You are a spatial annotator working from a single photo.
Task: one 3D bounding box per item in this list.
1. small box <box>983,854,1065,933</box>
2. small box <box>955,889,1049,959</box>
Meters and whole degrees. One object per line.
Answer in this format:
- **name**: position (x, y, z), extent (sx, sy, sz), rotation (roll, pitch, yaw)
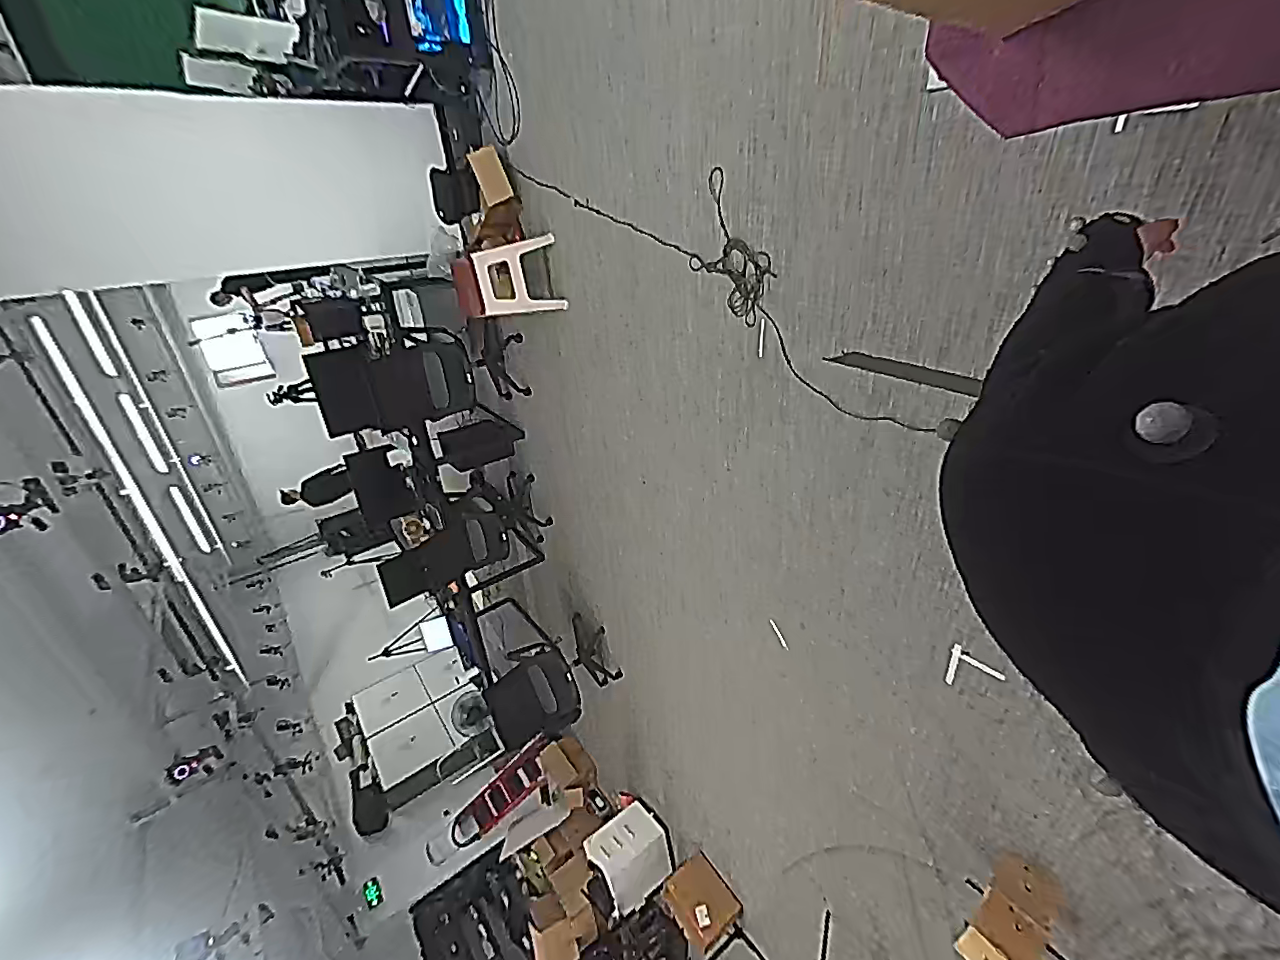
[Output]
- **small box**: position (1.251, 1.383, 1.769), extent (0.168, 0.176, 0.179), rotation (29, 133, 47)
- **small box**: position (1.125, 1.435, 1.678), extent (0.168, 0.176, 0.179), rotation (35, 136, 42)
